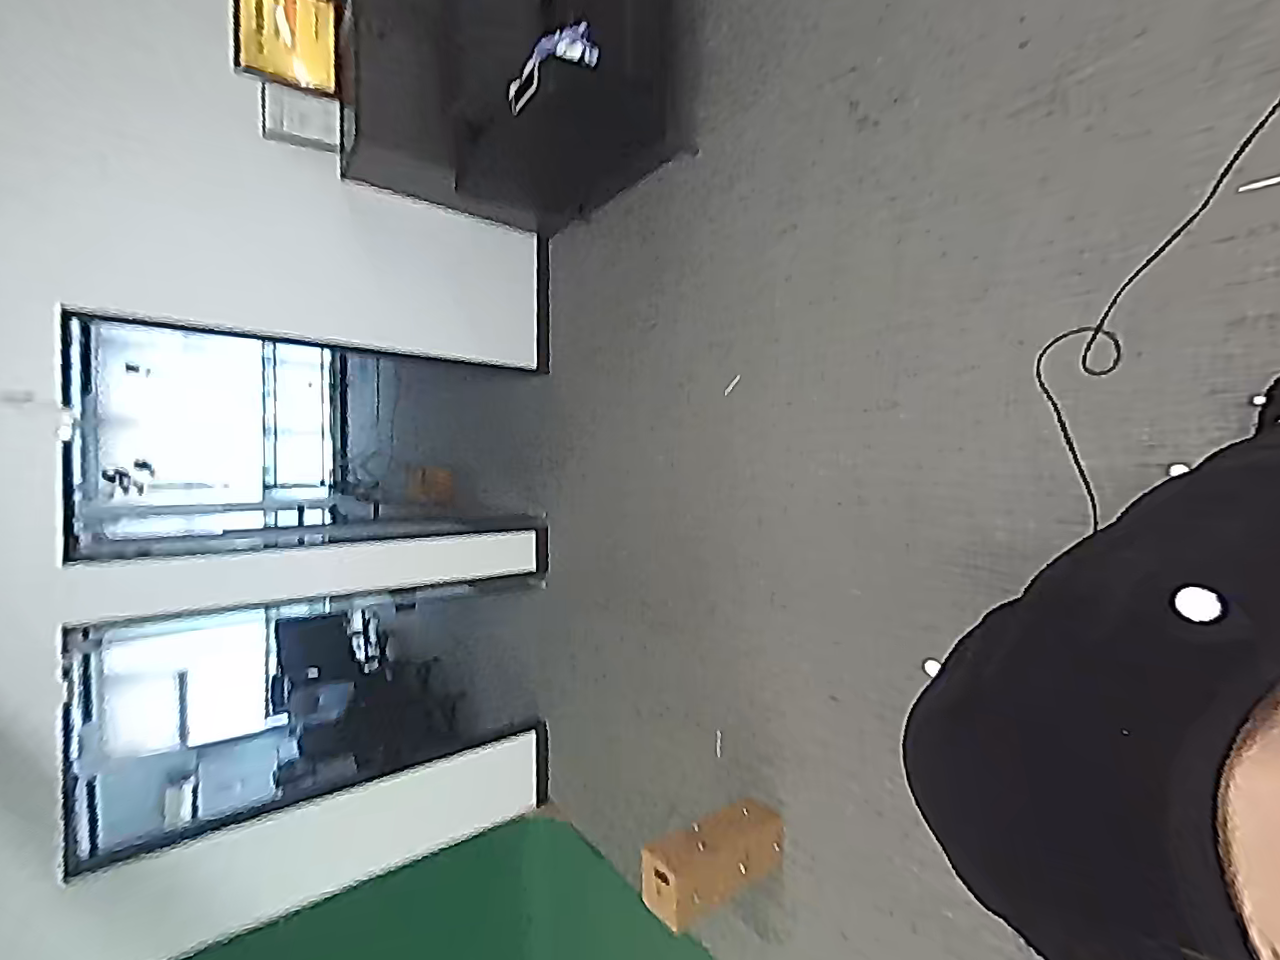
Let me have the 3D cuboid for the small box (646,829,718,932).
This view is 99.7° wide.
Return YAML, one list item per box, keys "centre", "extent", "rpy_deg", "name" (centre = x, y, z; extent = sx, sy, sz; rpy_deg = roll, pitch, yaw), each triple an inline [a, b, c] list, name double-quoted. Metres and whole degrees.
- centre: [0.135, 1.256, 1.713]
  extent: [0.168, 0.176, 0.179]
  rpy_deg: [-1, 90, 52]
  name: "small box"
